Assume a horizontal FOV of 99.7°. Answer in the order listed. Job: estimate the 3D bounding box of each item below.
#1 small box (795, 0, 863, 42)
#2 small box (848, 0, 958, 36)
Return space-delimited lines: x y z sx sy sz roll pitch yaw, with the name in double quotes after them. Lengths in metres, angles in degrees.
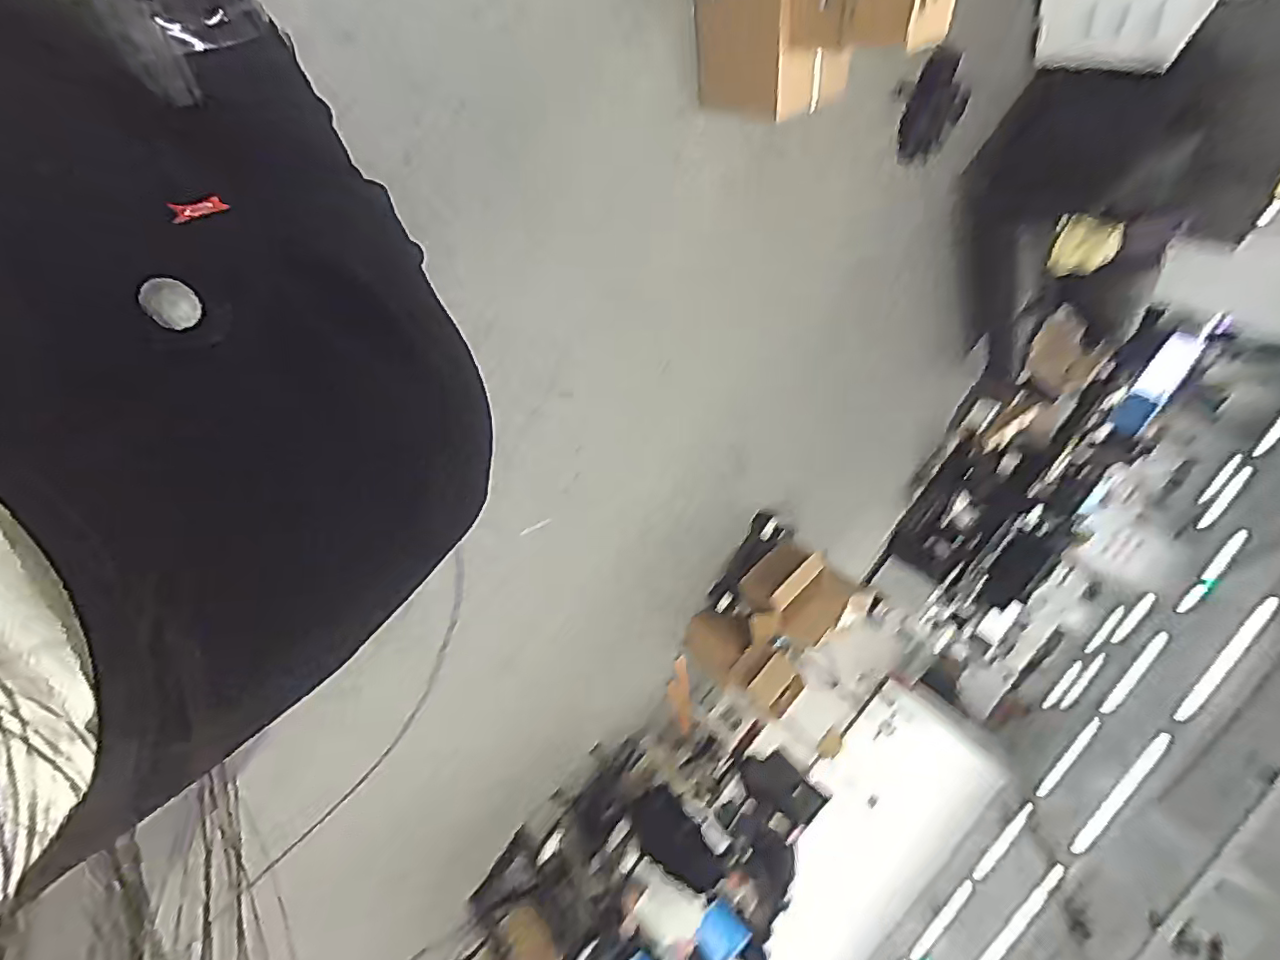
0.489 -1.183 1.297 0.168 0.176 0.179 -40 142 -18 "small box"
0.586 -1.098 1.190 0.179 0.176 0.168 -36 141 -21 "small box"
